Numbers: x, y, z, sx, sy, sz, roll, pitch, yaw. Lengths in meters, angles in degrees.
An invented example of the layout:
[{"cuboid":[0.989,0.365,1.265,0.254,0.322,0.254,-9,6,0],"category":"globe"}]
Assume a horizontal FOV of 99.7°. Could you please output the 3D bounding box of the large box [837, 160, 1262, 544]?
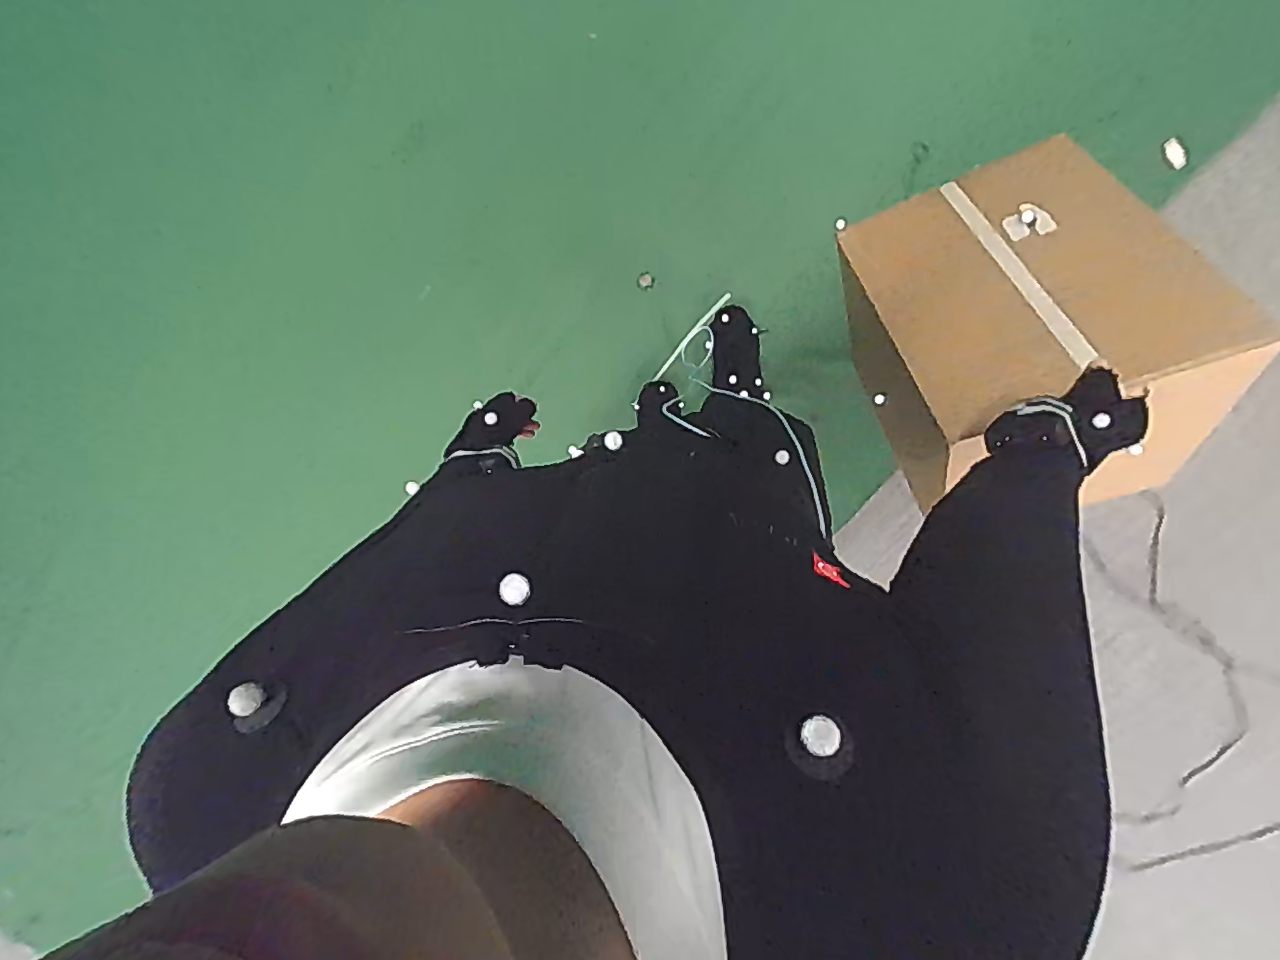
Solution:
[{"cuboid":[0.529,-0.172,0.809,0.320,0.408,0.320,-18,146,16],"category":"large box"}]
